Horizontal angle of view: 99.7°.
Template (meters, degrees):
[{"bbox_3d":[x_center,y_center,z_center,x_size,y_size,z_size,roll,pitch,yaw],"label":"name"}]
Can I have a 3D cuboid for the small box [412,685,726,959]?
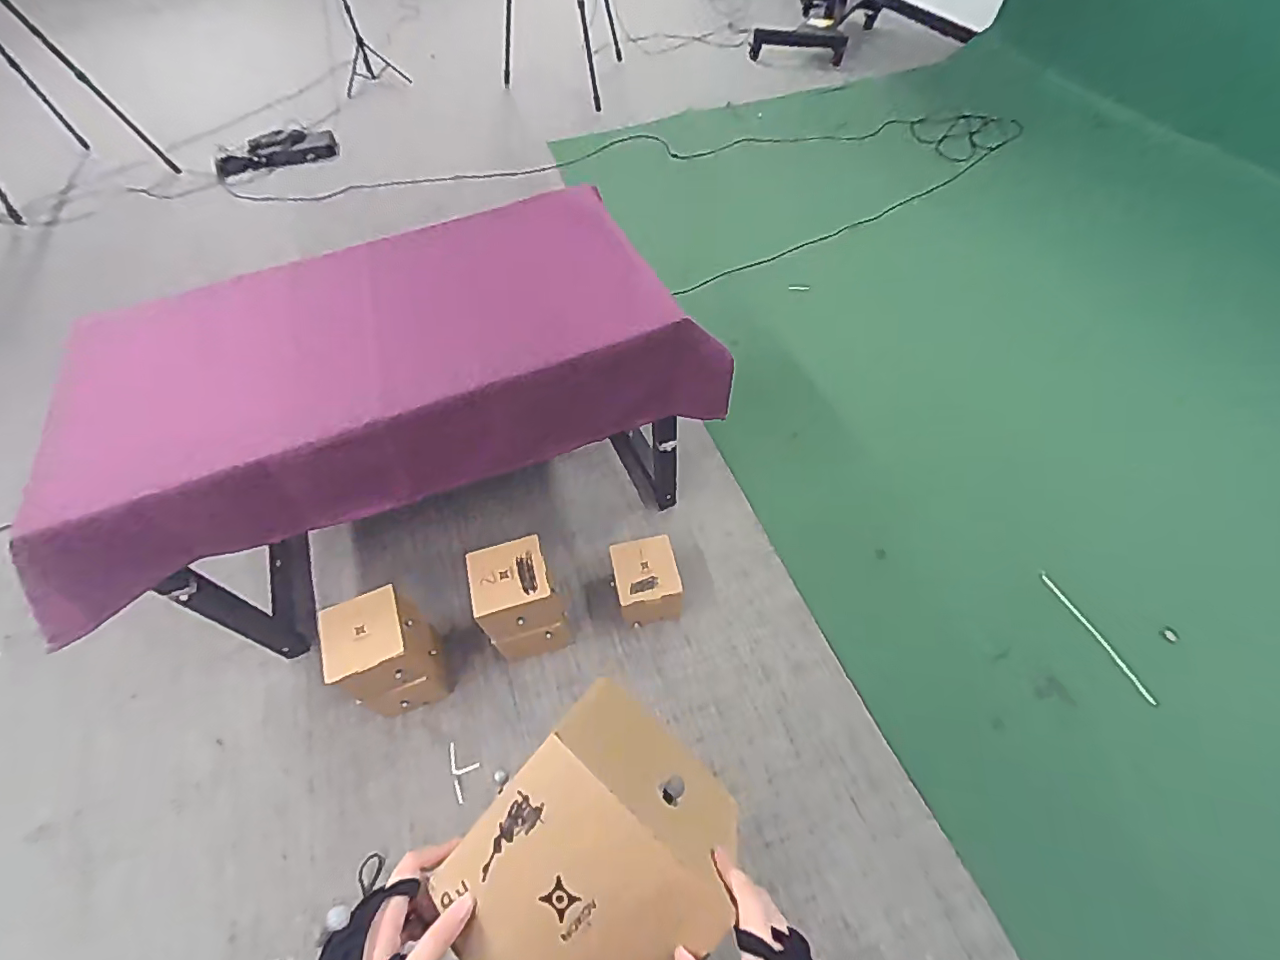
[{"bbox_3d":[-0.043,0.308,0.463,0.179,0.176,0.168,40,91,11],"label":"small box"}]

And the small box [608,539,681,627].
[{"bbox_3d":[0.014,0.287,1.475,0.168,0.176,0.179,-11,55,-5],"label":"small box"}]
